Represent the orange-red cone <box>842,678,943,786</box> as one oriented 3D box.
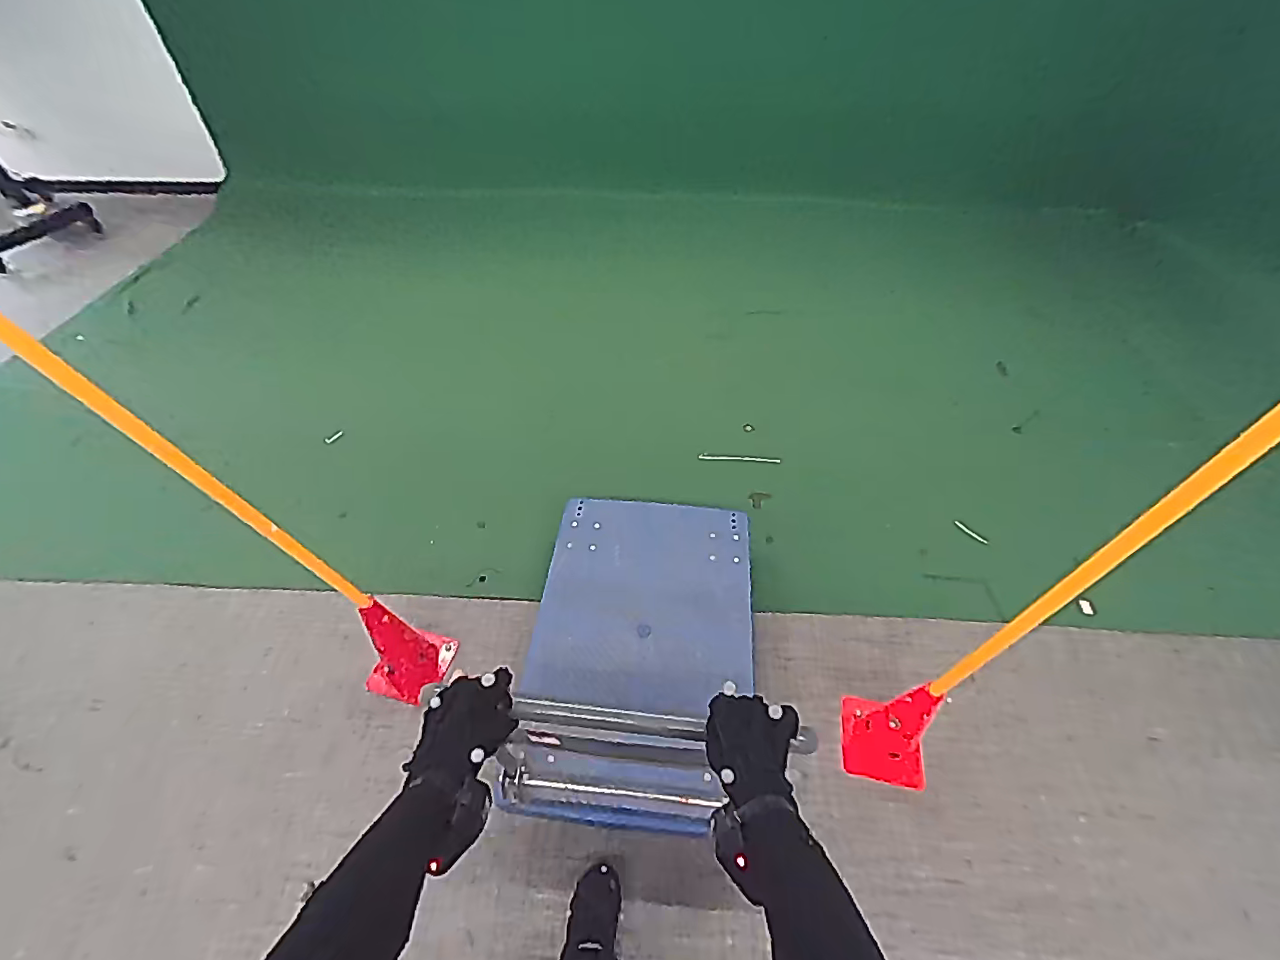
[{"bbox_3d":[0.625,0.556,1.274,0.198,0.360,0.199,10,50,10],"label":"orange-red cone"}]
